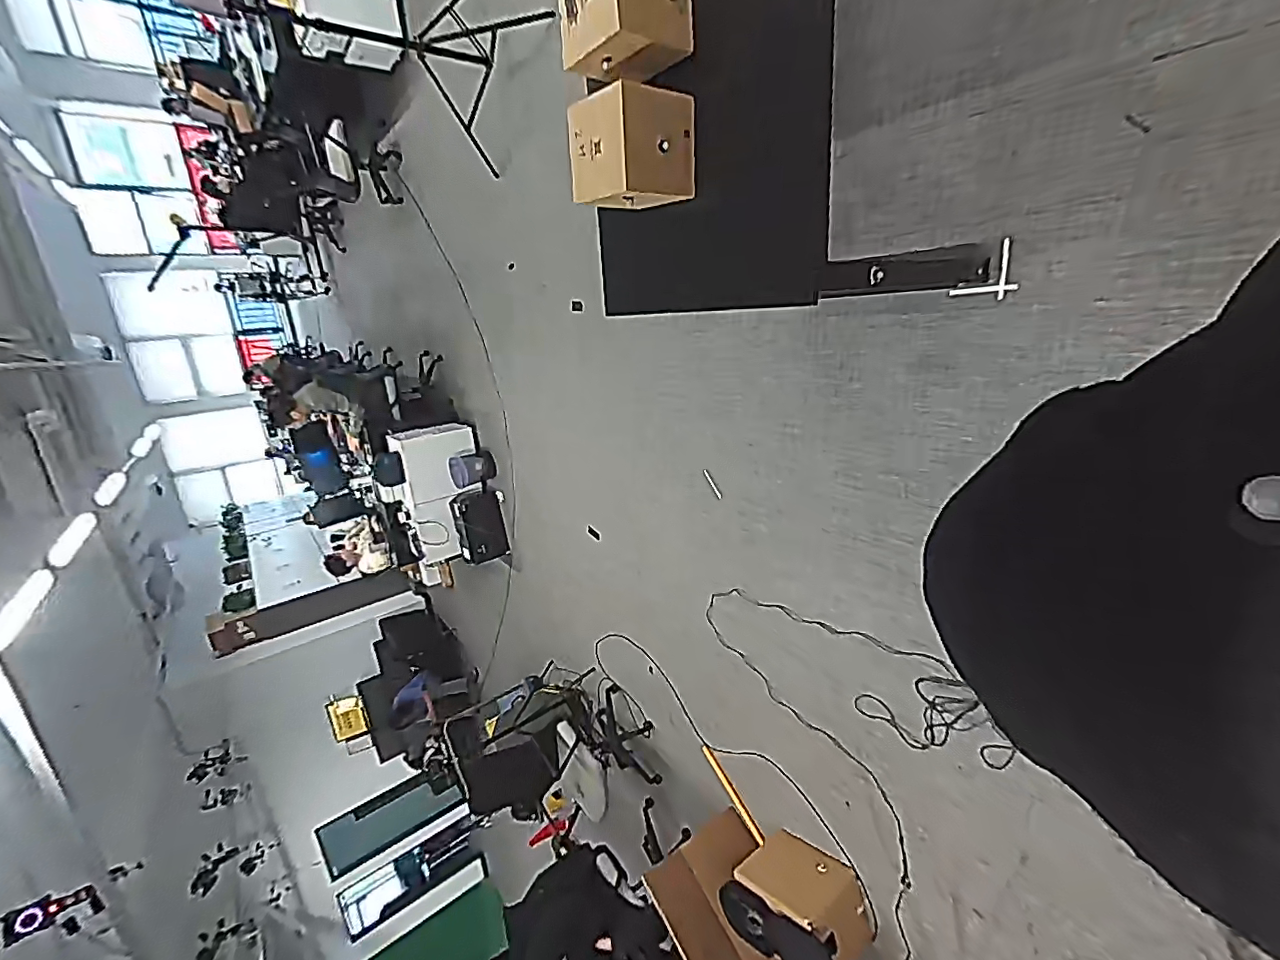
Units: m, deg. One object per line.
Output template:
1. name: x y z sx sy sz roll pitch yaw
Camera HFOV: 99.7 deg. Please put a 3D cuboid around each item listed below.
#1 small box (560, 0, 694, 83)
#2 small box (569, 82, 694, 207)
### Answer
1. small box: -0.025 -0.832 0.950 0.179 0.176 0.168 17 118 50
2. small box: -0.012 -0.619 1.021 0.179 0.176 0.168 23 121 49
